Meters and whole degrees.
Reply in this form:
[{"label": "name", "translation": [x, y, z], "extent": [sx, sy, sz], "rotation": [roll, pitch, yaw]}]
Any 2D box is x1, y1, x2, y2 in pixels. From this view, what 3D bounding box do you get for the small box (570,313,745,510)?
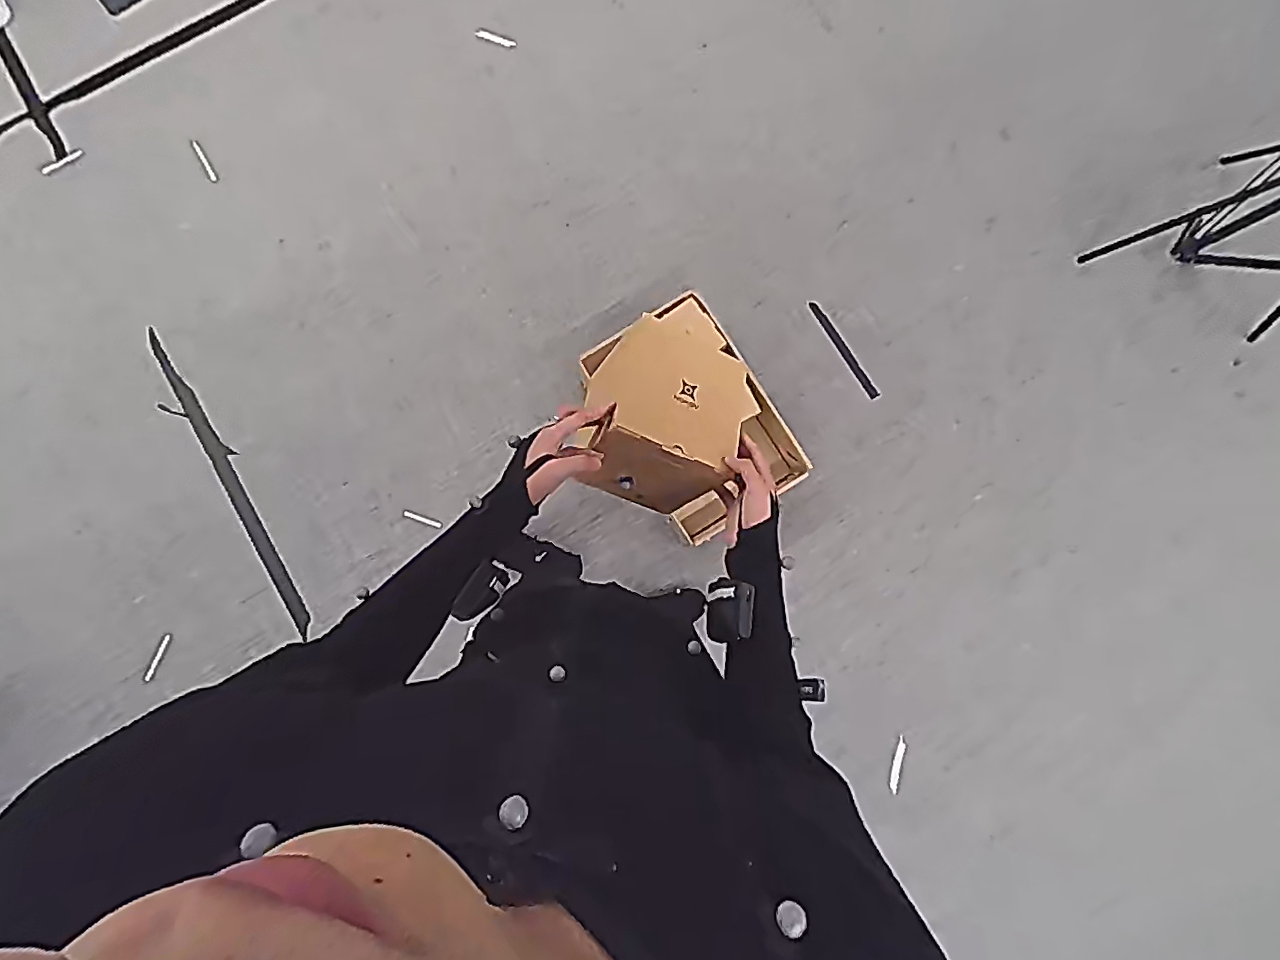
[{"label": "small box", "translation": [0.020, -0.080, 0.729], "extent": [0.168, 0.176, 0.179], "rotation": [21, 63, -20]}]
